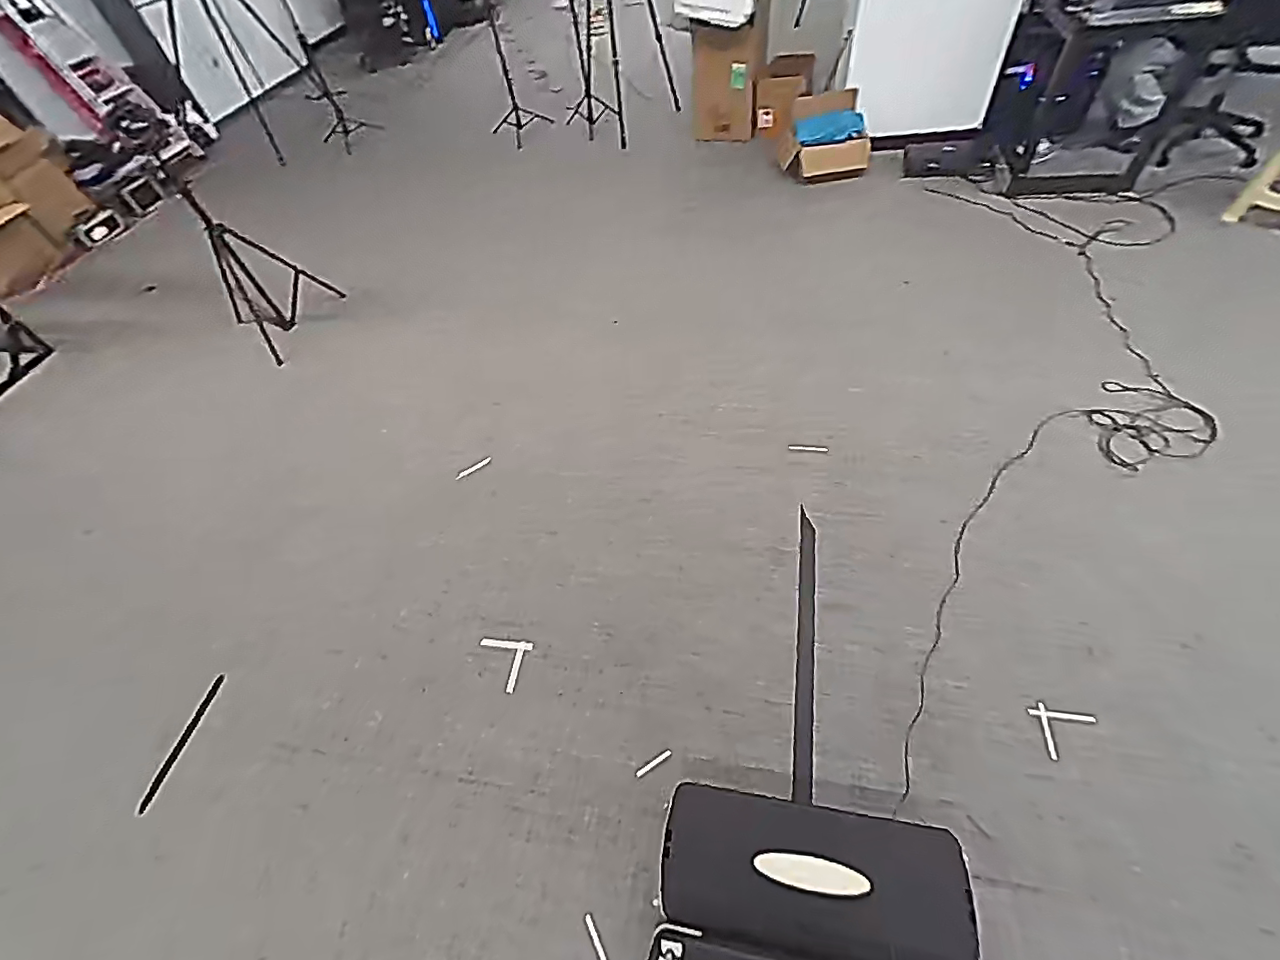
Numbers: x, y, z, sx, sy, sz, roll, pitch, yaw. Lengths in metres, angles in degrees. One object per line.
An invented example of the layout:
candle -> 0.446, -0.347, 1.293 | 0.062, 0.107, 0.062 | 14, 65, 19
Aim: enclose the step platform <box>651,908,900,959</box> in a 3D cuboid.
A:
step platform -> 0.348, 1.075, 1.049 | 0.684, 0.204, 0.286 | 2, 52, 13
